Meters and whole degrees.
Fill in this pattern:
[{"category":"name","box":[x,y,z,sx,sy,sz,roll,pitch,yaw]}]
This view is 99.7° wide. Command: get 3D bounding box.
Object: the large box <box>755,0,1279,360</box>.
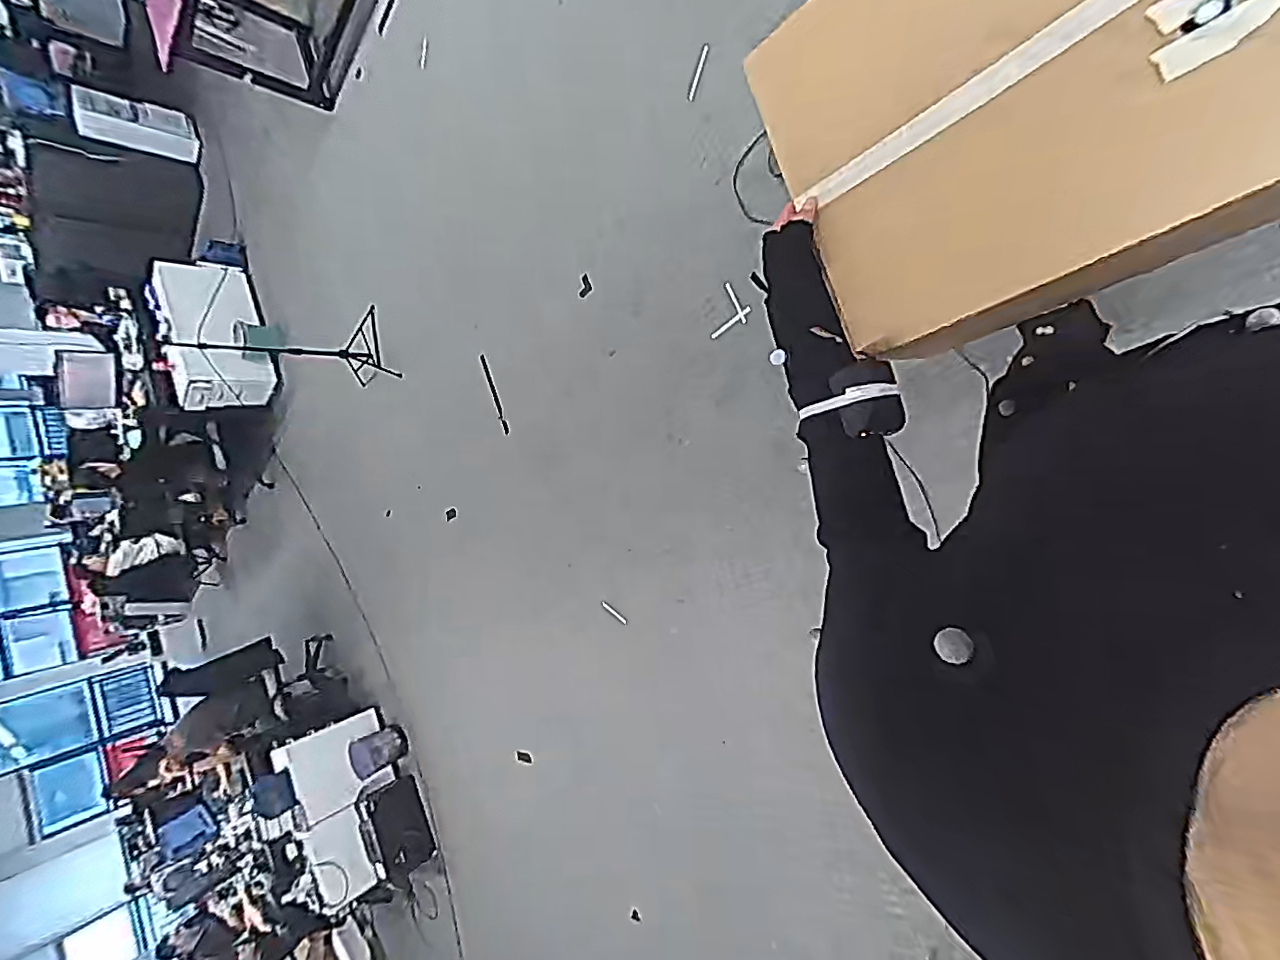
[{"category":"large box","box":[0.391,-0.341,0.516,0.408,0.320,0.320,-22,87,38]}]
